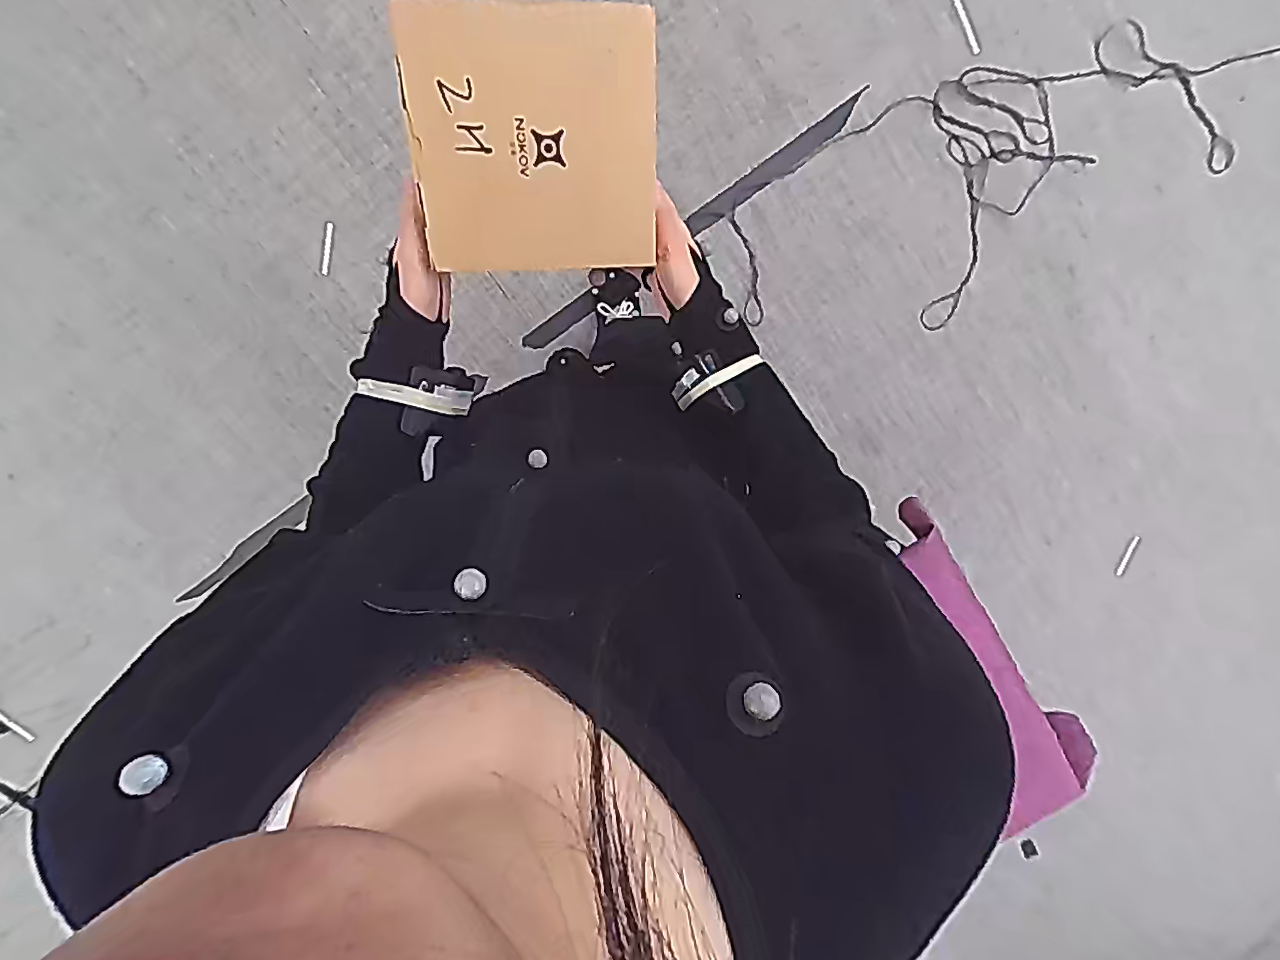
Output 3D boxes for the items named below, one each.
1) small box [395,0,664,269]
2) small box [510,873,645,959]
[{"bbox_3d":[-0.083,-0.272,0.456,0.179,0.176,0.168,-4,115,-8],"label":"small box"},{"bbox_3d":[-0.096,0.799,0.881,0.168,0.176,0.179,-33,106,3],"label":"small box"}]
